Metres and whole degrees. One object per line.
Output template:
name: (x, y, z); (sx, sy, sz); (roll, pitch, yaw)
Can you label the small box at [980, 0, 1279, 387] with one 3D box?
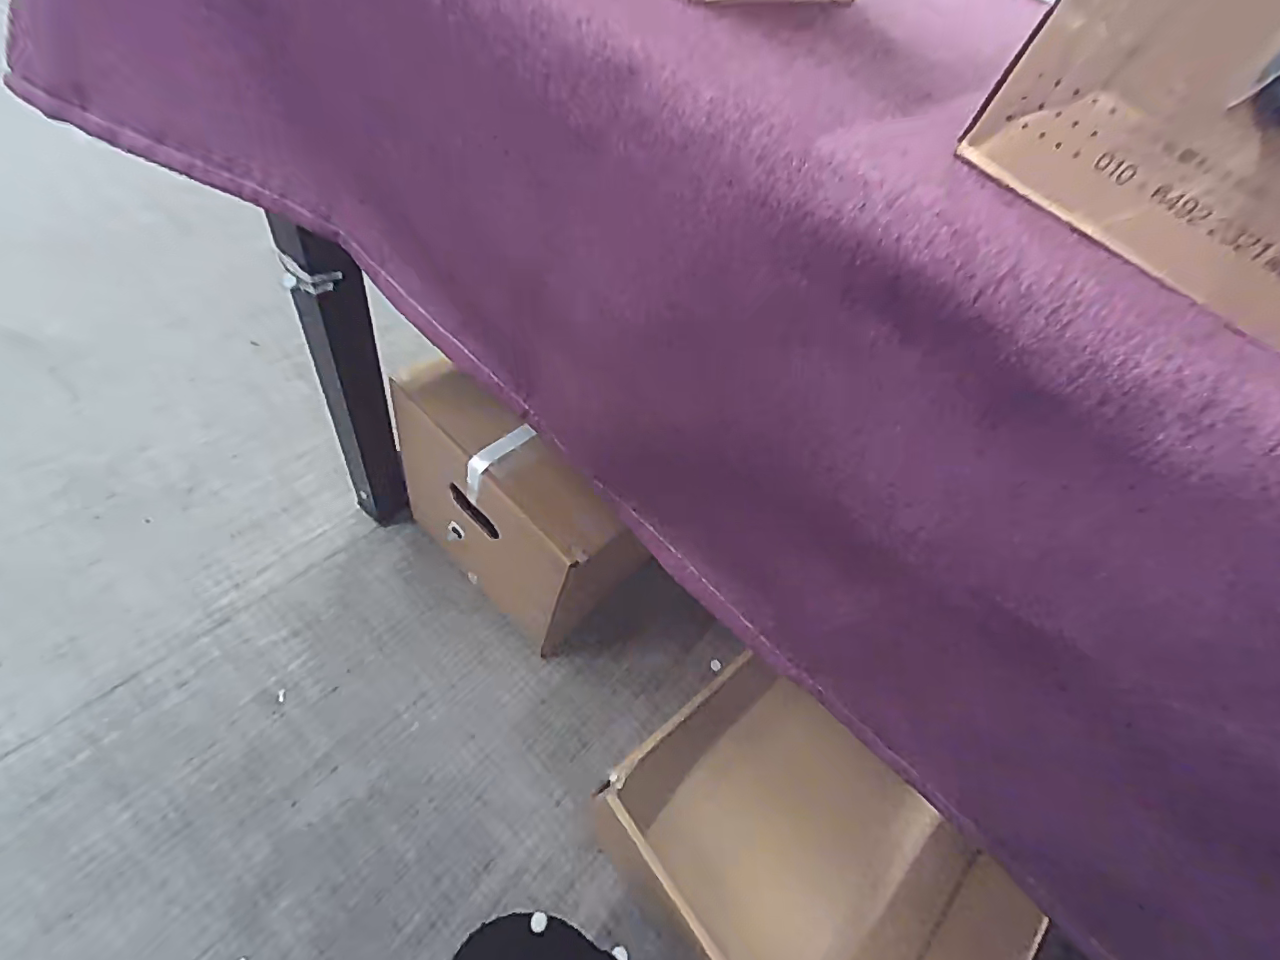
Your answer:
small box: (0.248, -0.145, 0.159); (0.179, 0.176, 0.168); (-33, 70, -32)
